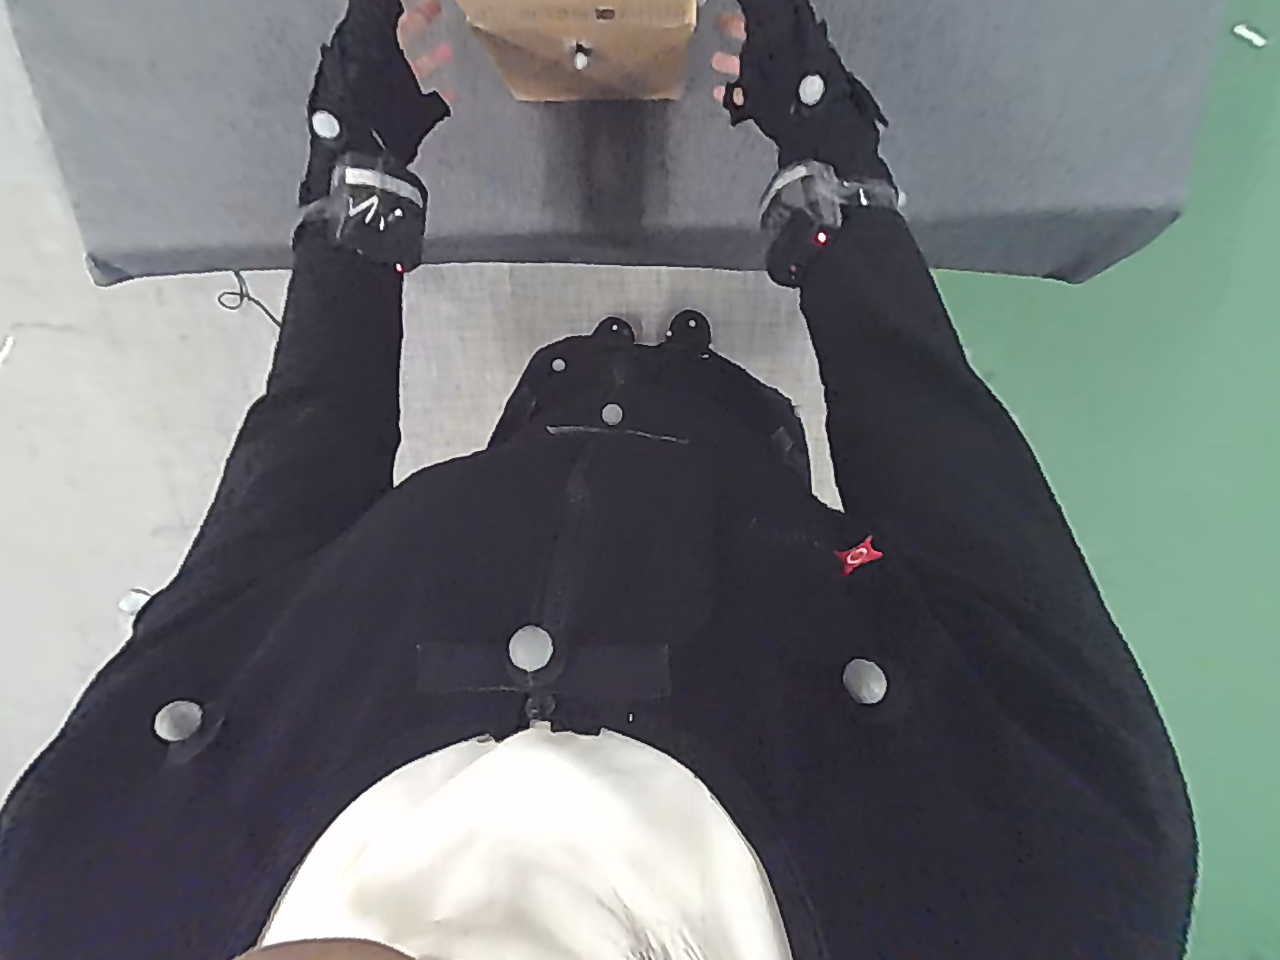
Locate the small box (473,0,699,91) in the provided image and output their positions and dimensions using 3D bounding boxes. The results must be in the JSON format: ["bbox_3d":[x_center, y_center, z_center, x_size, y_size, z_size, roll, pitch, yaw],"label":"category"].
[{"bbox_3d":[-0.038,-0.456,0.463,0.179,0.176,0.168,0,110,1],"label":"small box"}]

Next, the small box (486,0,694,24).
[{"bbox_3d":[-0.041,-0.407,0.309,0.168,0.176,0.179,-1,110,2],"label":"small box"}]
